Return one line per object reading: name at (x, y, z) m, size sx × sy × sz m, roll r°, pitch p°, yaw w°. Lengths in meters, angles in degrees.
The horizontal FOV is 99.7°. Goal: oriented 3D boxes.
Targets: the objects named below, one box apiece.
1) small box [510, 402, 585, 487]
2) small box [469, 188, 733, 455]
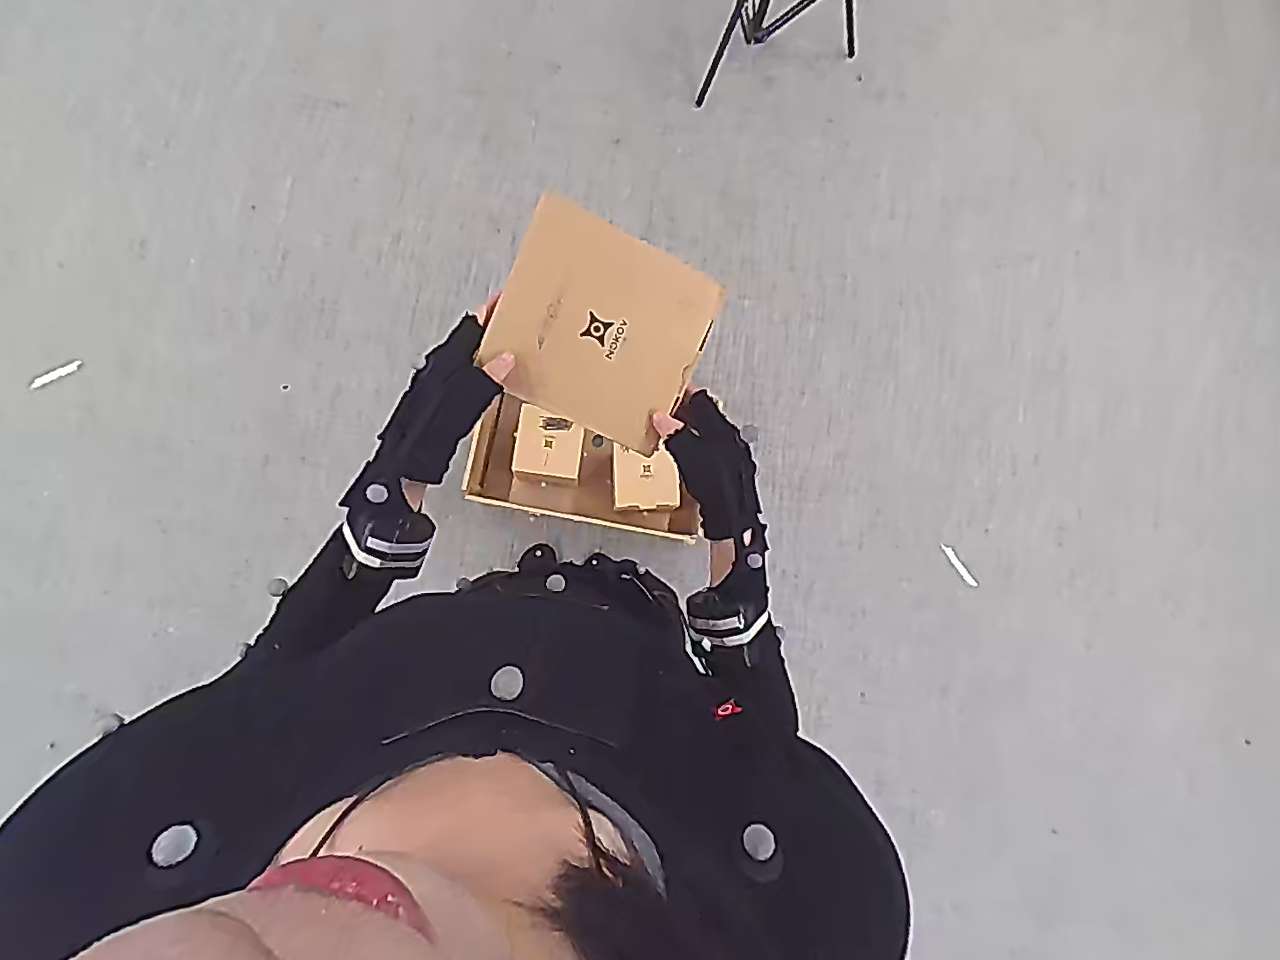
small box at (-0.239, -0.087, 1.421) m, size 0.168 × 0.176 × 0.179 m, roll 9°, pitch 81°, yaw -6°
small box at (-0.042, -0.140, 0.527) m, size 0.179 × 0.176 × 0.168 m, roll 23°, pitch 94°, yaw -11°
